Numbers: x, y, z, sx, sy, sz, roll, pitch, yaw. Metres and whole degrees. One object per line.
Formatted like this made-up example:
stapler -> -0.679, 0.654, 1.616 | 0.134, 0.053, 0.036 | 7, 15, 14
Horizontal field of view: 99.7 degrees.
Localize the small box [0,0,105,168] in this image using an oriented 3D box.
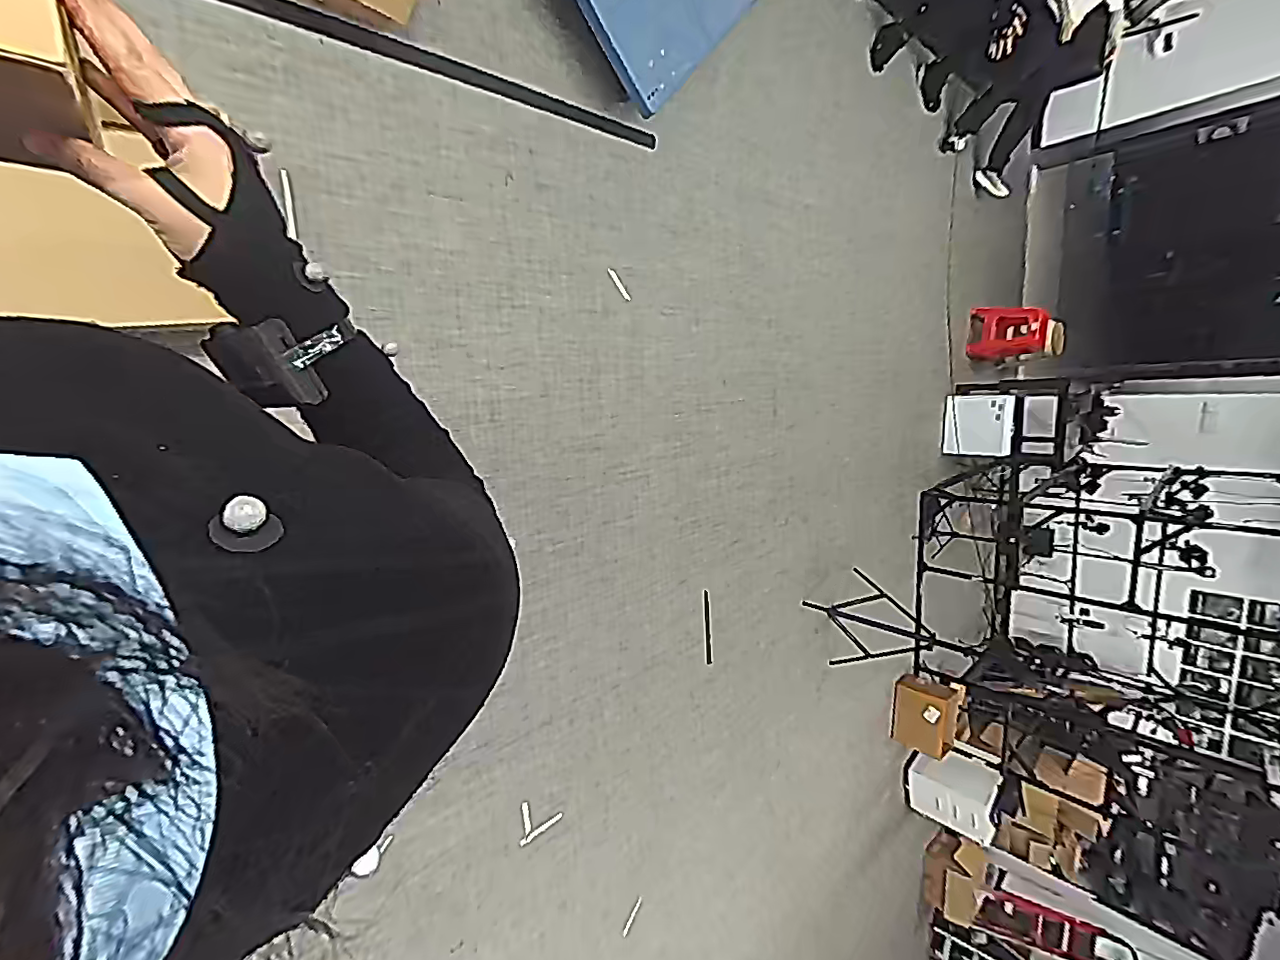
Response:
small box -> -0.363, -0.268, 0.233 | 0.168, 0.176, 0.179 | -10, 105, -40
